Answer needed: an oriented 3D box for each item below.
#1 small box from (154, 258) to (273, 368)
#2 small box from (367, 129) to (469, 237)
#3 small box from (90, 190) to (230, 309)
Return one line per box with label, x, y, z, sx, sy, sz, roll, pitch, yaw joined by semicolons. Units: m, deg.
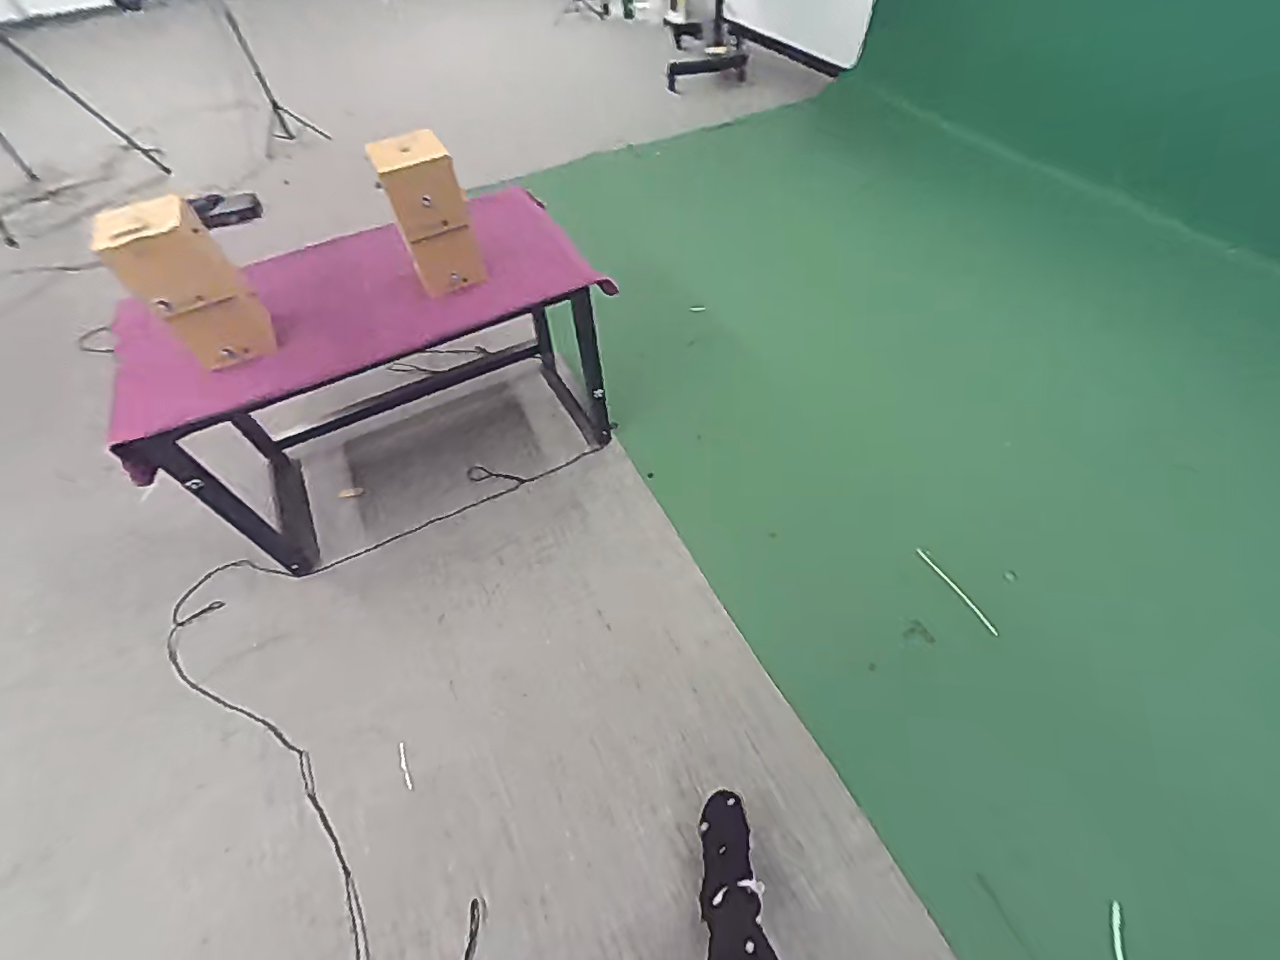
small box;-1.031;-0.405;1.317;0.168;0.176;0.179;-25;56;-15
small box;-0.537;-0.720;1.323;0.168;0.176;0.179;-23;56;-15
small box;-1.034;-0.496;1.181;0.168;0.176;0.179;-25;55;-14
